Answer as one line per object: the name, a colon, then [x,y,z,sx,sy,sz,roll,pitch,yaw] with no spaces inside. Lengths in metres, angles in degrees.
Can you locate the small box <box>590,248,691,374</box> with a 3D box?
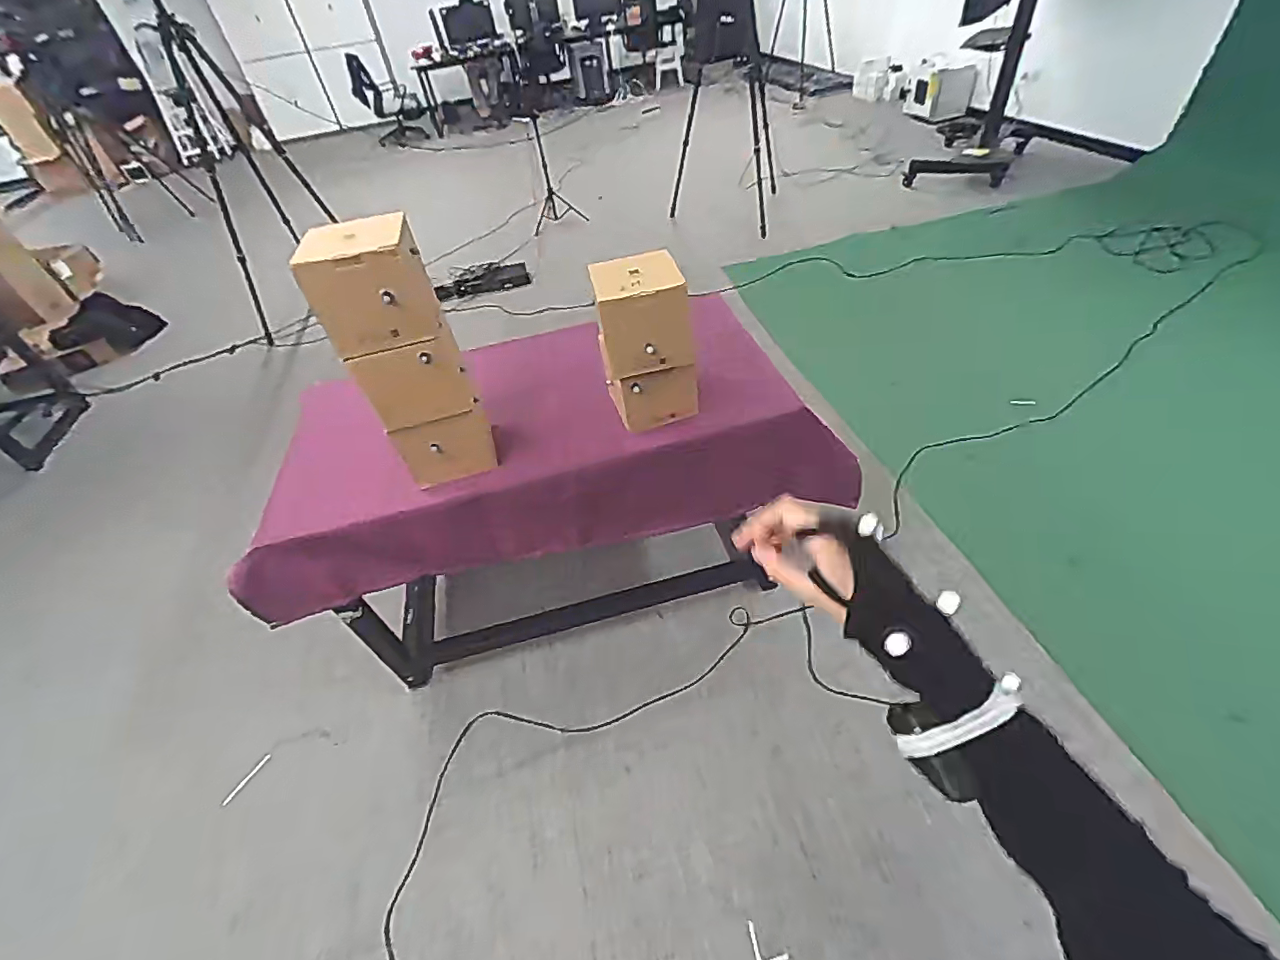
small box: [0.001,-0.337,1.081,0.168,0.176,0.179,-12,44,-2]

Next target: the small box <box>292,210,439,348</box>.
small box: [-0.464,-0.345,0.947,0.168,0.176,0.179,-14,43,-6]

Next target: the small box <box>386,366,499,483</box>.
small box: [-0.424,-0.118,1.176,0.179,0.176,0.168,-17,45,-6]

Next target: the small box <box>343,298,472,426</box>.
small box: [-0.445,-0.228,1.059,0.179,0.176,0.168,-16,44,-7]
